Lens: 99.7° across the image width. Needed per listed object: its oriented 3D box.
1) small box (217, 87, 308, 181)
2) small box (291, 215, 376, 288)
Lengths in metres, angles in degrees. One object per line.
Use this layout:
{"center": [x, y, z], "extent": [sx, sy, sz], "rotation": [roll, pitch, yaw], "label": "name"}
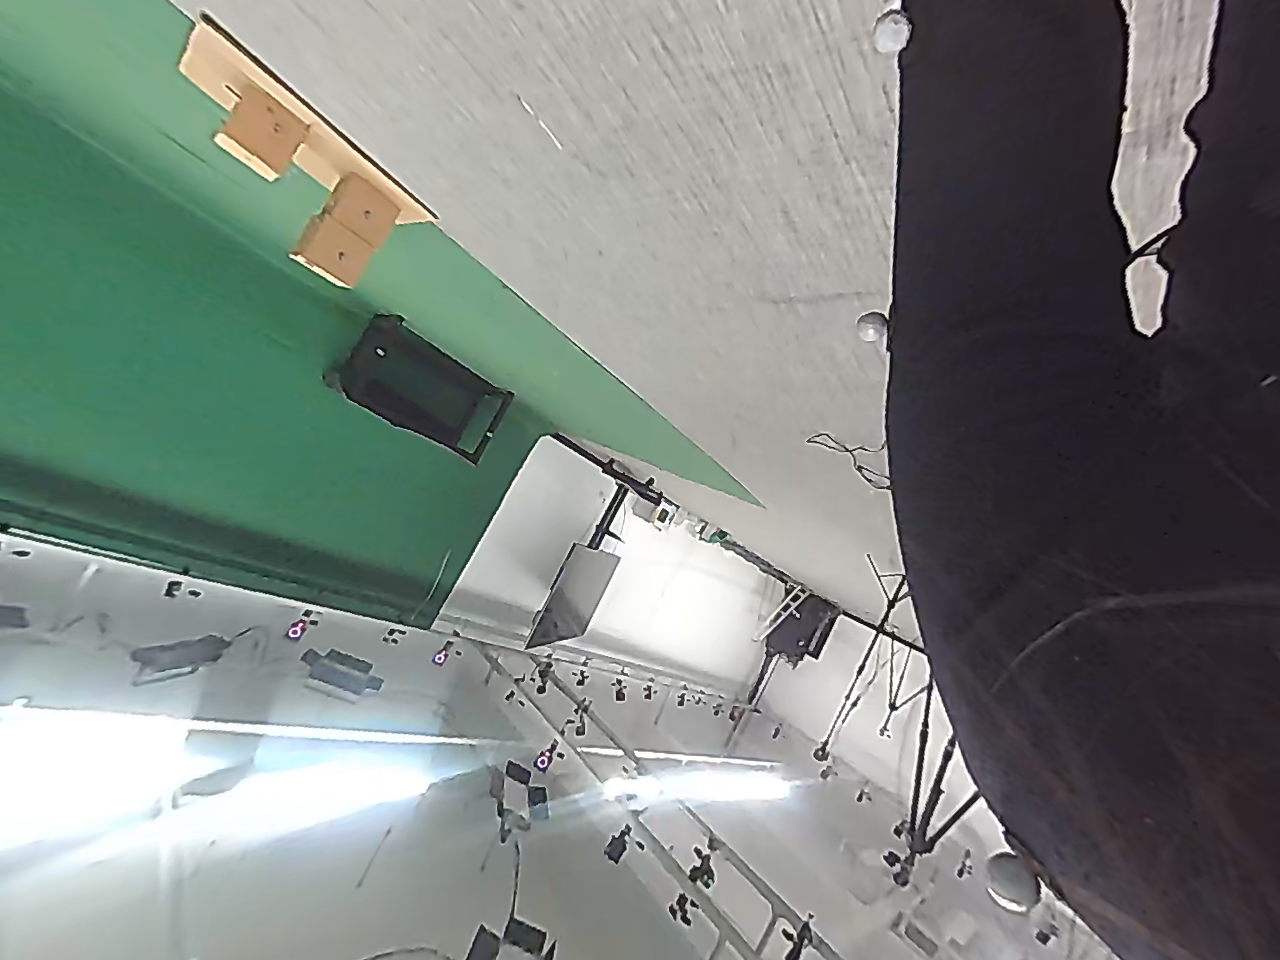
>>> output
{"center": [-1.162, -1.062, 1.667], "extent": [0.179, 0.176, 0.168], "rotation": [22, 172, 45], "label": "small box"}
{"center": [-1.065, -0.797, 1.881], "extent": [0.168, 0.176, 0.179], "rotation": [24, 175, 40], "label": "small box"}
